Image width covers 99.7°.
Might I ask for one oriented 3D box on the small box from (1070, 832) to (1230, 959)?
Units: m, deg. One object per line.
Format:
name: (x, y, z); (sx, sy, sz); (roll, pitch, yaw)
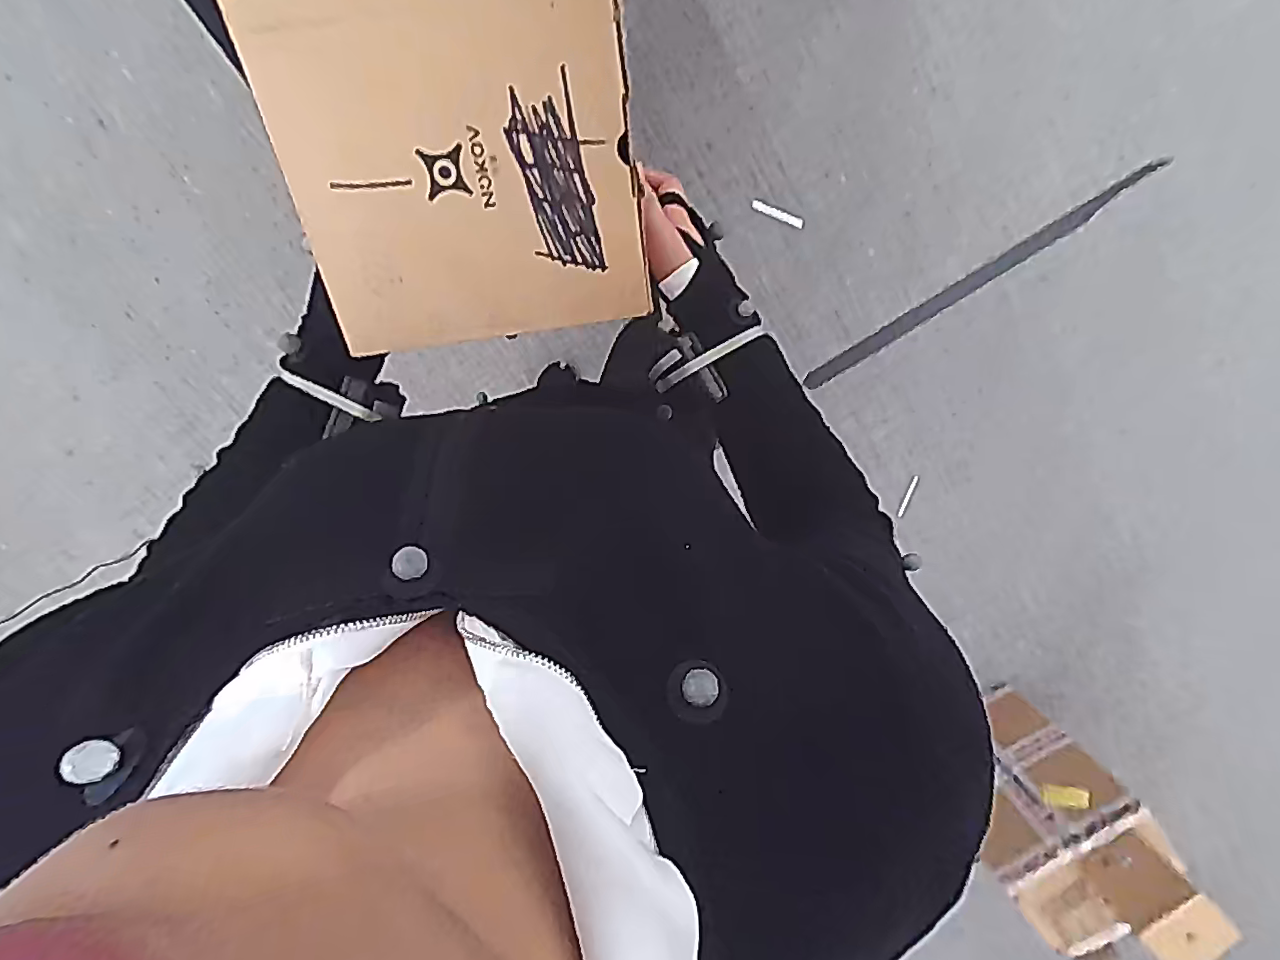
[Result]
small box: (1.168, 0.971, 1.251); (0.168, 0.176, 0.179); (-44, 98, 6)
